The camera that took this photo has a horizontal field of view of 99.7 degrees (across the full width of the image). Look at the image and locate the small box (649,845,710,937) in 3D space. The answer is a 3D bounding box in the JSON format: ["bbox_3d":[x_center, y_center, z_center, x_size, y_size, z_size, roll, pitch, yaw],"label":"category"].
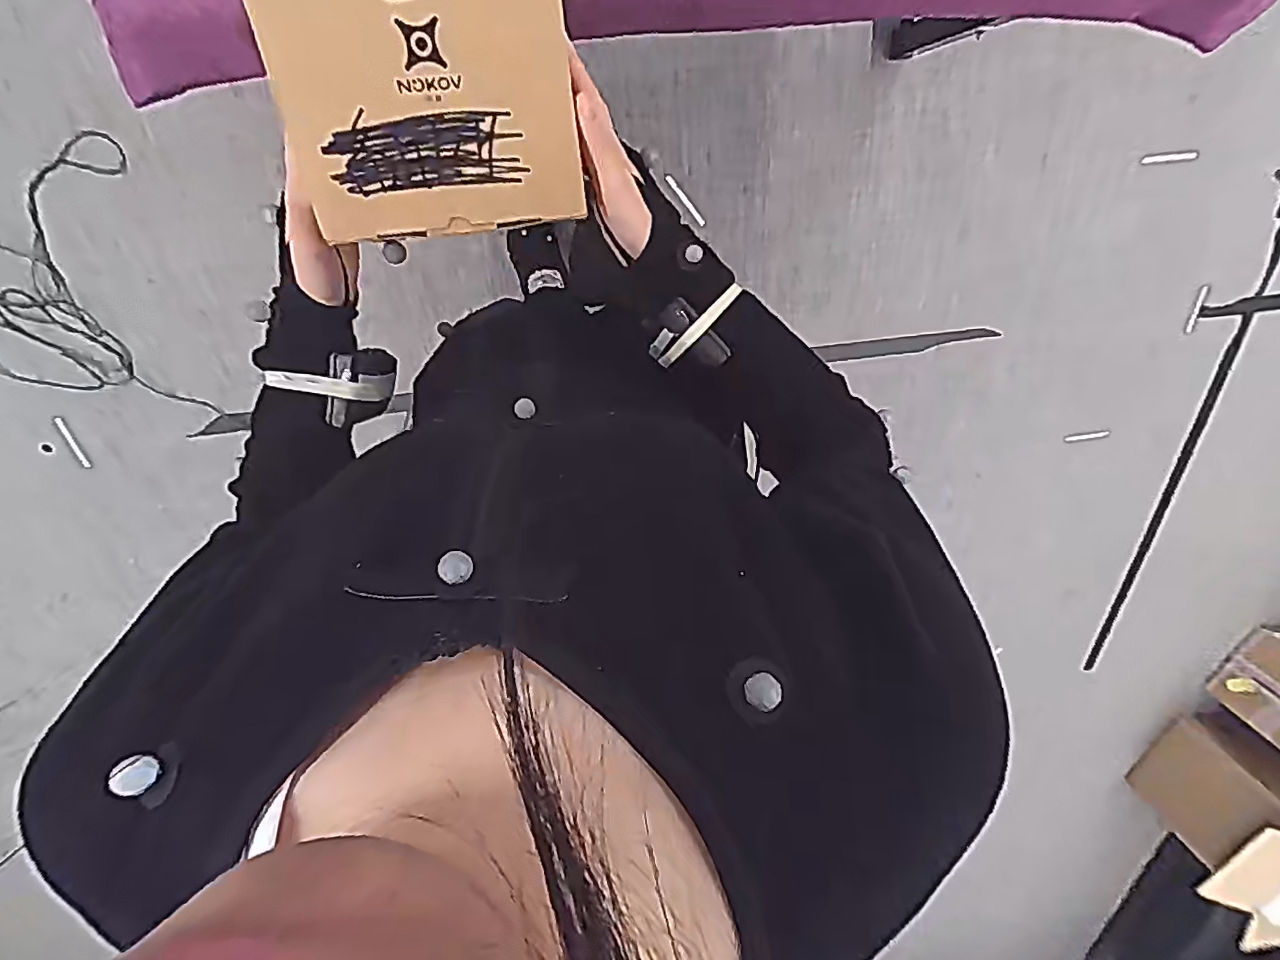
[{"bbox_3d":[0.127,1.330,1.754,0.168,0.176,0.179,-9,117,-5],"label":"small box"}]

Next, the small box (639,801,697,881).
[{"bbox_3d":[0.101,1.262,1.900,0.179,0.176,0.168,-9,118,-3],"label":"small box"}]
